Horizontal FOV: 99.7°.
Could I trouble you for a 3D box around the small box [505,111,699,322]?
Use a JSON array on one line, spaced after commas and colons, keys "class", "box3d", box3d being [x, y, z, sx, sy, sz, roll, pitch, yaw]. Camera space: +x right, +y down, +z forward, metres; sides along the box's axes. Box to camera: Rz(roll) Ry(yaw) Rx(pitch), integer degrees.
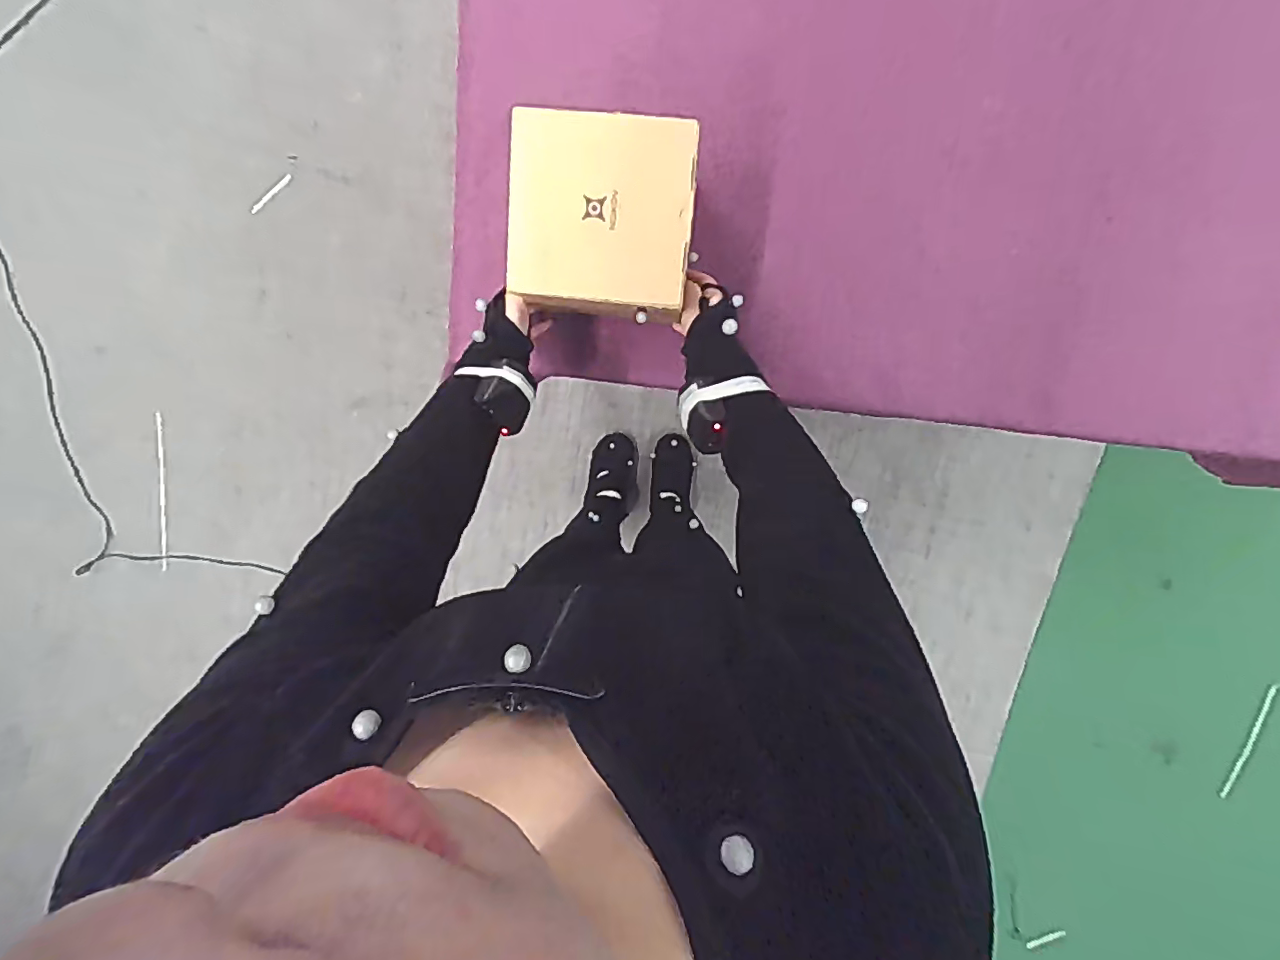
[{"class": "small box", "box3d": [-0.034, -0.270, 0.592, 0.179, 0.176, 0.168, 6, 101, 2]}]
